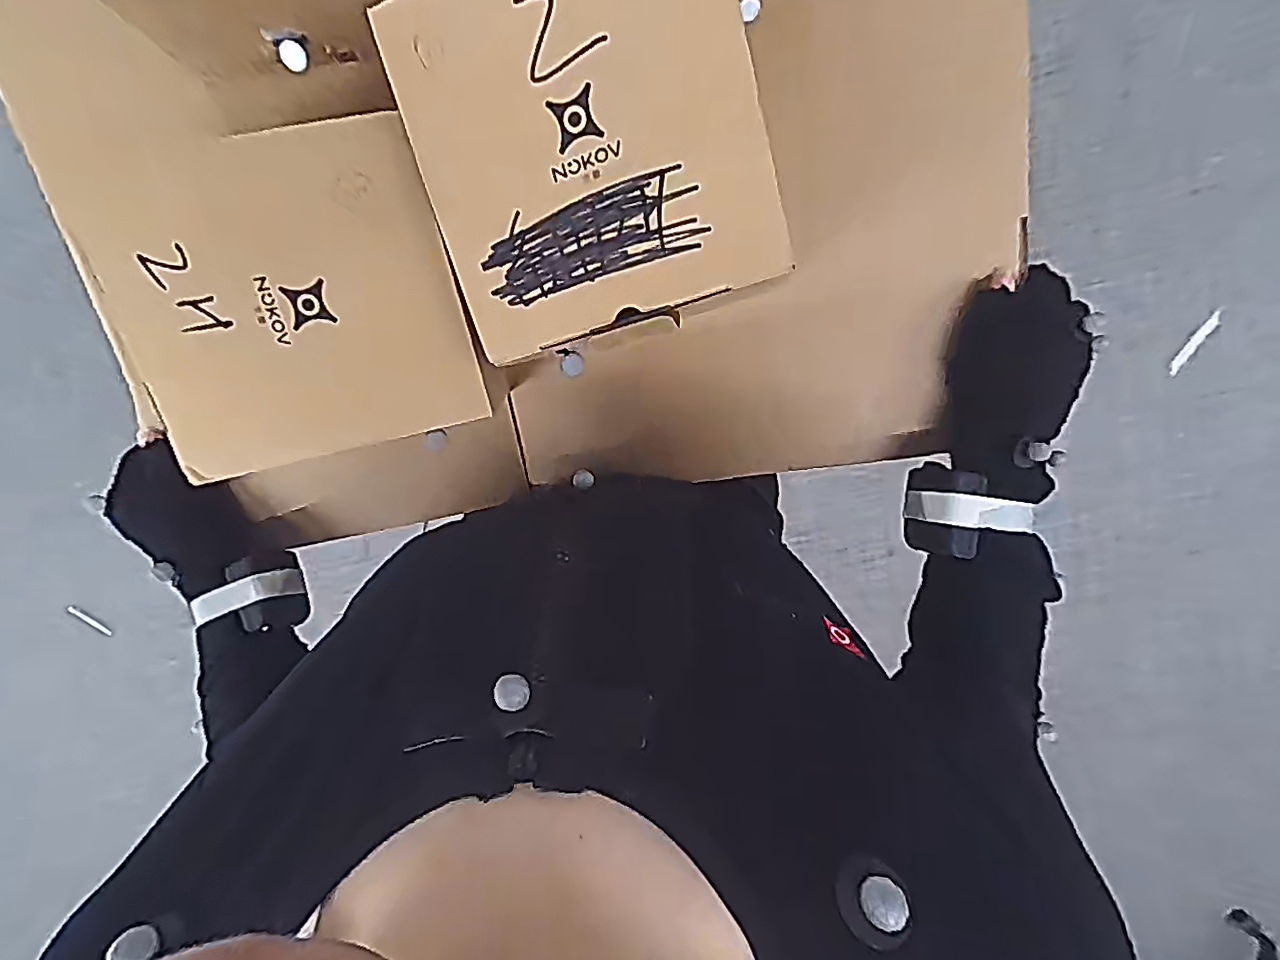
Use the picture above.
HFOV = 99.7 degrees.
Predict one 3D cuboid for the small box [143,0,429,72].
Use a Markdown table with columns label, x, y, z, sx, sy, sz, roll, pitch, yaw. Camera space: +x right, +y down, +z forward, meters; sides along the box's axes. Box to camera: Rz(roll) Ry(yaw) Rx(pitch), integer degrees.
| label | x | y | z | sx | sy | sz | roll | pitch | yaw |
| --- | --- | --- | --- | --- | --- | --- | --- | --- | --- |
| small box | -0.236 | -0.376 | 0.303 | 0.168 | 0.176 | 0.179 | -13 | 106 | -7 |
